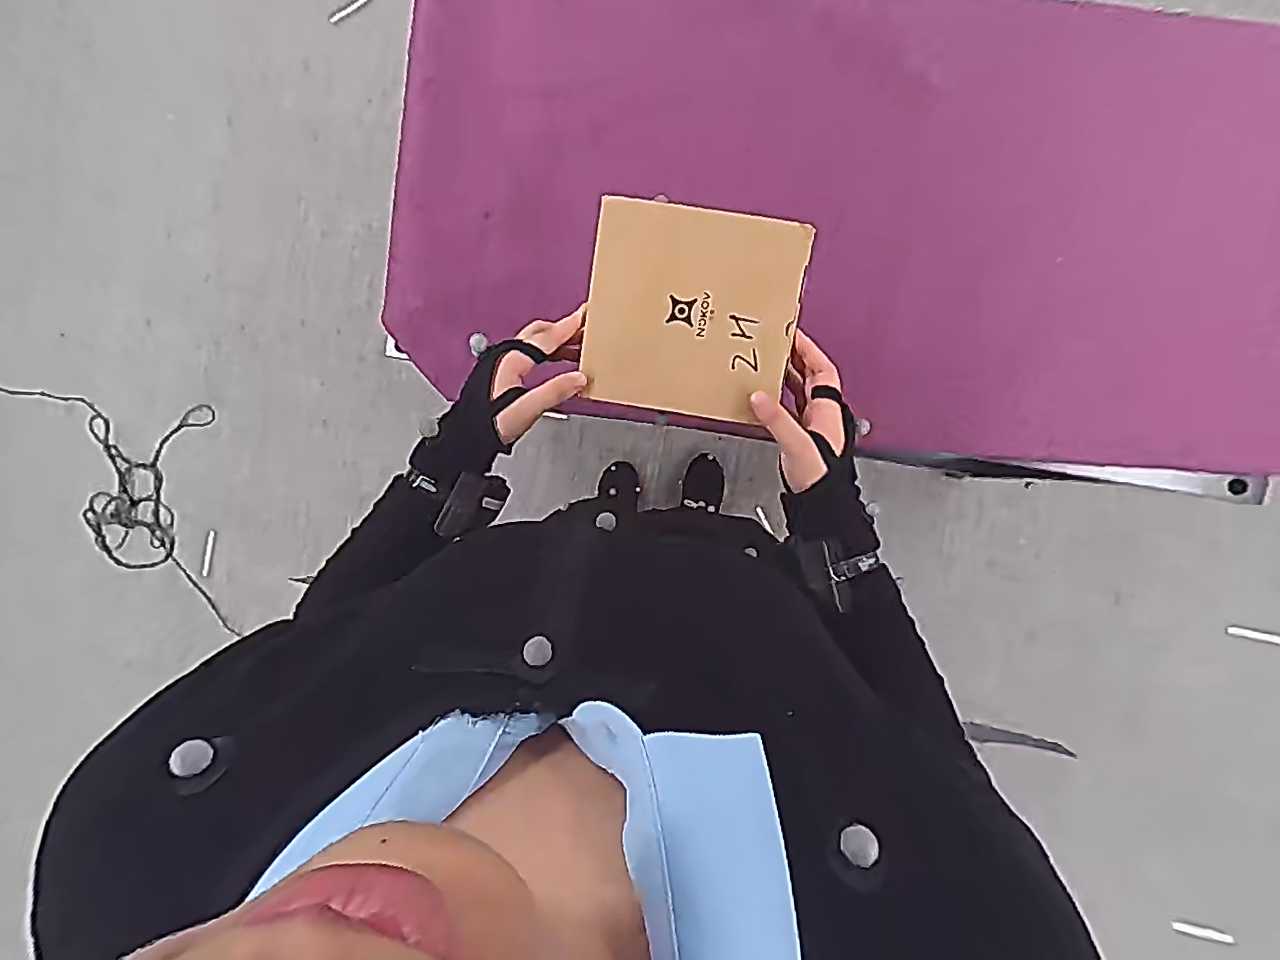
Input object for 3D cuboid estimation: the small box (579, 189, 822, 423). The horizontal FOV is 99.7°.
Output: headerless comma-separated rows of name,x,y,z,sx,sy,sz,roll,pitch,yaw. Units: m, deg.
small box,0.050,-0.152,0.518,0.179,0.176,0.168,9,101,1
